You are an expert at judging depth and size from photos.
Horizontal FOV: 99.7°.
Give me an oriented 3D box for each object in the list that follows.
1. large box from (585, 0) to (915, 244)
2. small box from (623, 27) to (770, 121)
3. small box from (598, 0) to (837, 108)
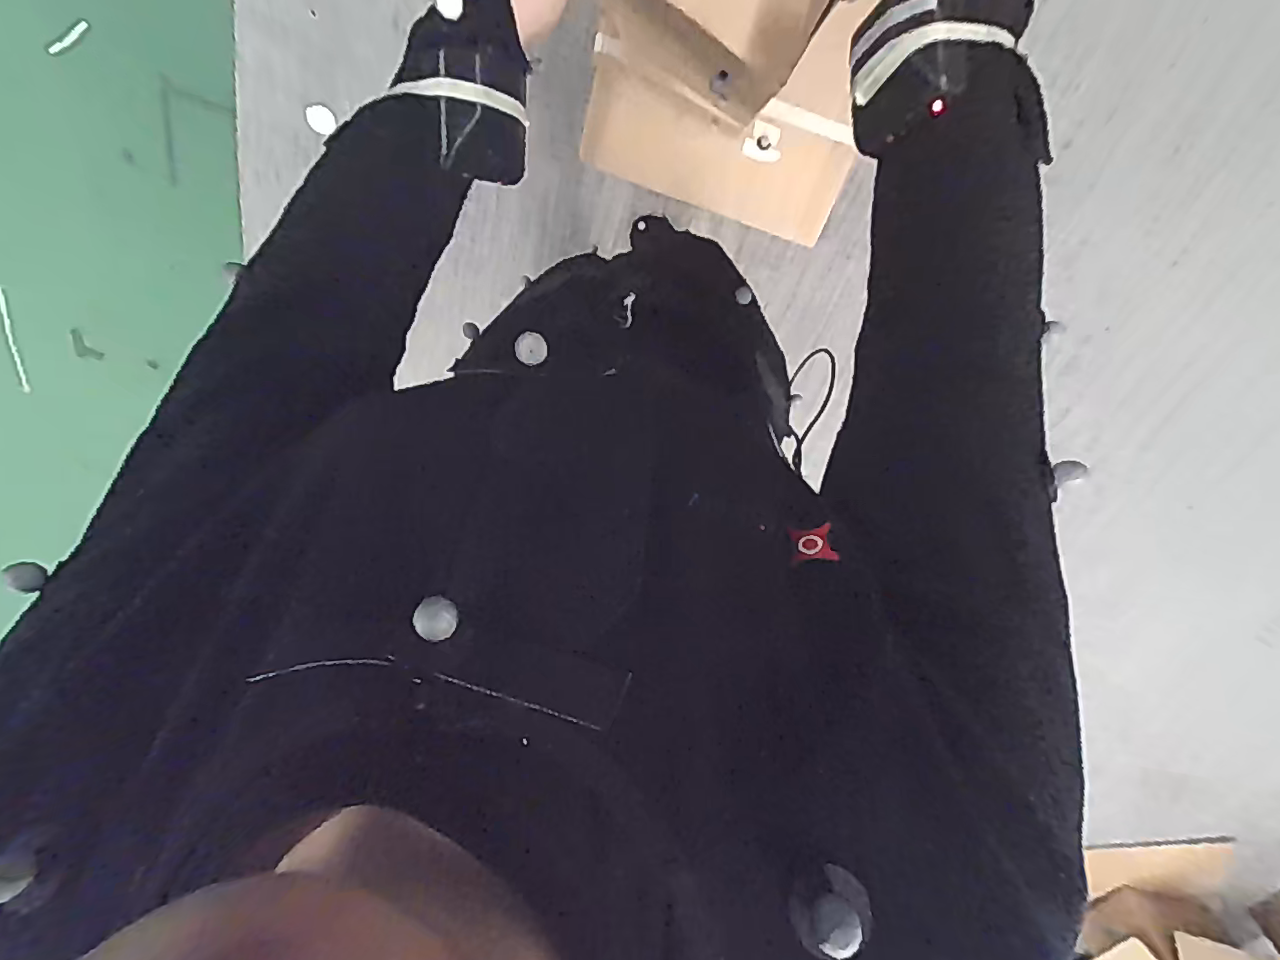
[{"bbox_3d":[0.152,-0.633,0.918,0.408,0.320,0.320,17,120,-4],"label":"large box"},{"bbox_3d":[0.089,-0.491,0.540,0.179,0.176,0.168,28,117,-10],"label":"small box"},{"bbox_3d":[0.071,-0.411,0.400,0.179,0.176,0.168,29,116,-10],"label":"small box"}]
